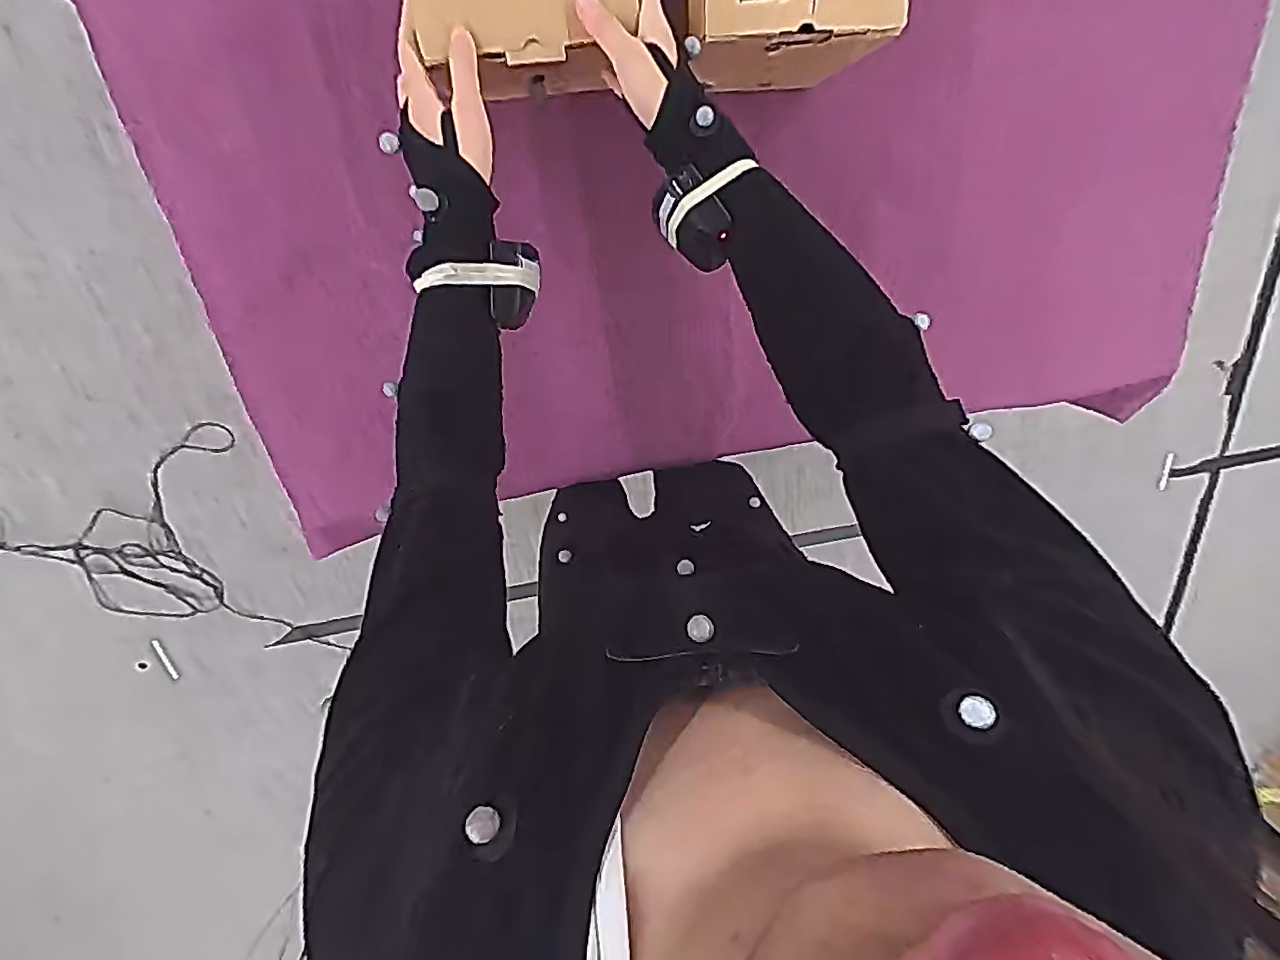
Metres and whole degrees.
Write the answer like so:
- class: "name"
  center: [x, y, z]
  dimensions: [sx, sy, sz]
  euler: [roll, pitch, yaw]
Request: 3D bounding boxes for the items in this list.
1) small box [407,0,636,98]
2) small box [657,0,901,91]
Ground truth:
- class: "small box"
  center: [-0.098, -0.426, 0.437]
  dimensions: [0.168, 0.176, 0.179]
  euler: [-8, 117, -6]
- class: "small box"
  center: [0.109, -0.453, 0.463]
  dimensions: [0.168, 0.176, 0.179]
  euler: [-7, 114, -7]
